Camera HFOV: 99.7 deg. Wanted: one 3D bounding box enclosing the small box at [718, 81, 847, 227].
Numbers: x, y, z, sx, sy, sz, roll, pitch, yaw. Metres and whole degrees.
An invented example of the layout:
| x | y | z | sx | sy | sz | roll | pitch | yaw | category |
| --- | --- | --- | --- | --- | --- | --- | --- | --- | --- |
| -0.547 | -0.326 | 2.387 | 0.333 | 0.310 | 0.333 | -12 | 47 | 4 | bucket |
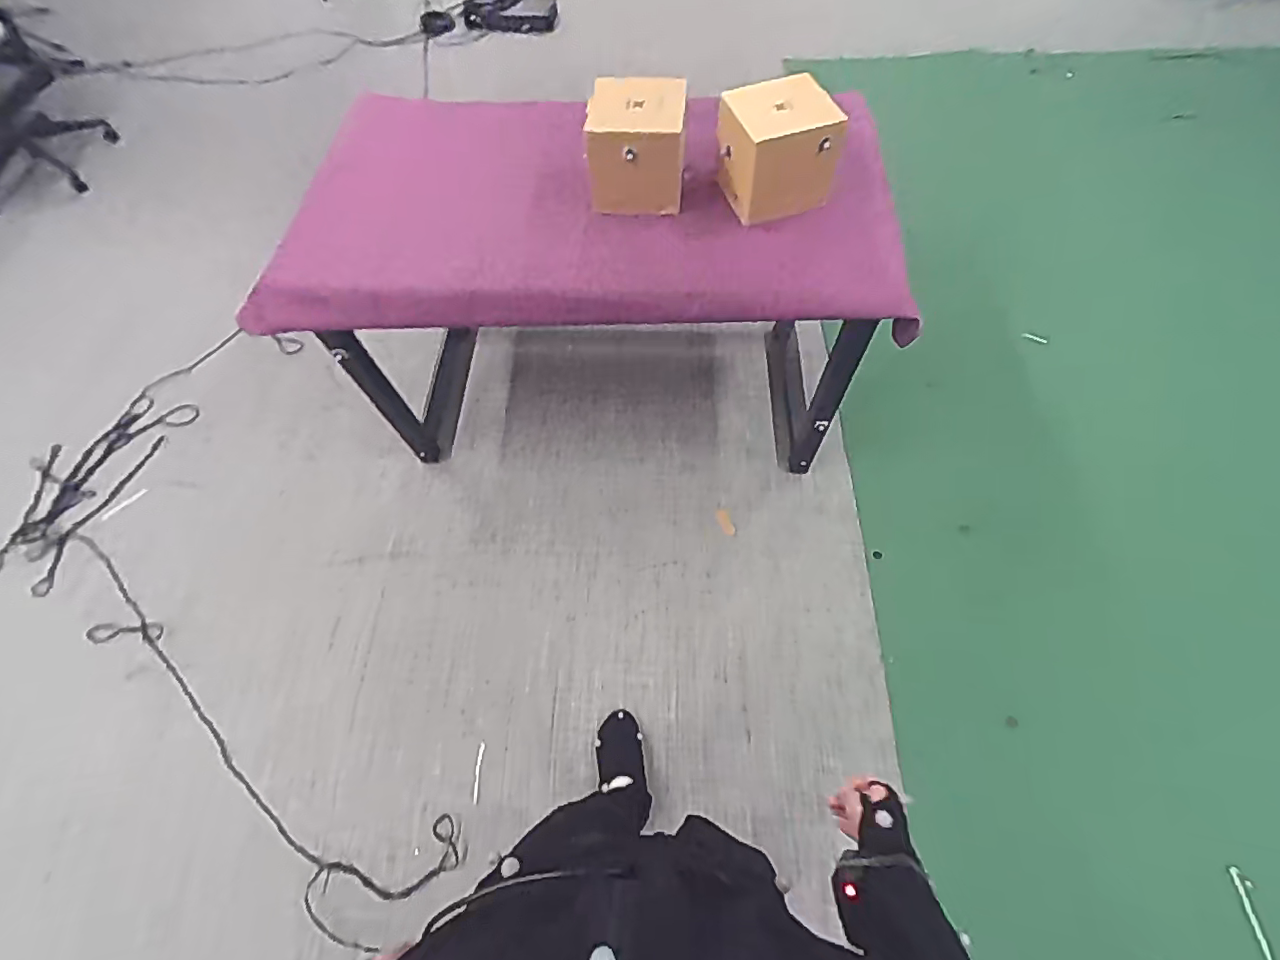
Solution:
| x | y | z | sx | sy | sz | roll | pitch | yaw | category |
| --- | --- | --- | --- | --- | --- | --- | --- | --- | --- |
| 0.256 | -0.611 | 1.027 | 0.179 | 0.176 | 0.168 | -16 | 63 | -7 | small box |

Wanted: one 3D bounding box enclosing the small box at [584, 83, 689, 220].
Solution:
| x | y | z | sx | sy | sz | roll | pitch | yaw | category |
| --- | --- | --- | --- | --- | --- | --- | --- | --- | --- |
| -0.002 | -0.631 | 1.048 | 0.179 | 0.176 | 0.168 | 5 | 64 | 4 | small box |
